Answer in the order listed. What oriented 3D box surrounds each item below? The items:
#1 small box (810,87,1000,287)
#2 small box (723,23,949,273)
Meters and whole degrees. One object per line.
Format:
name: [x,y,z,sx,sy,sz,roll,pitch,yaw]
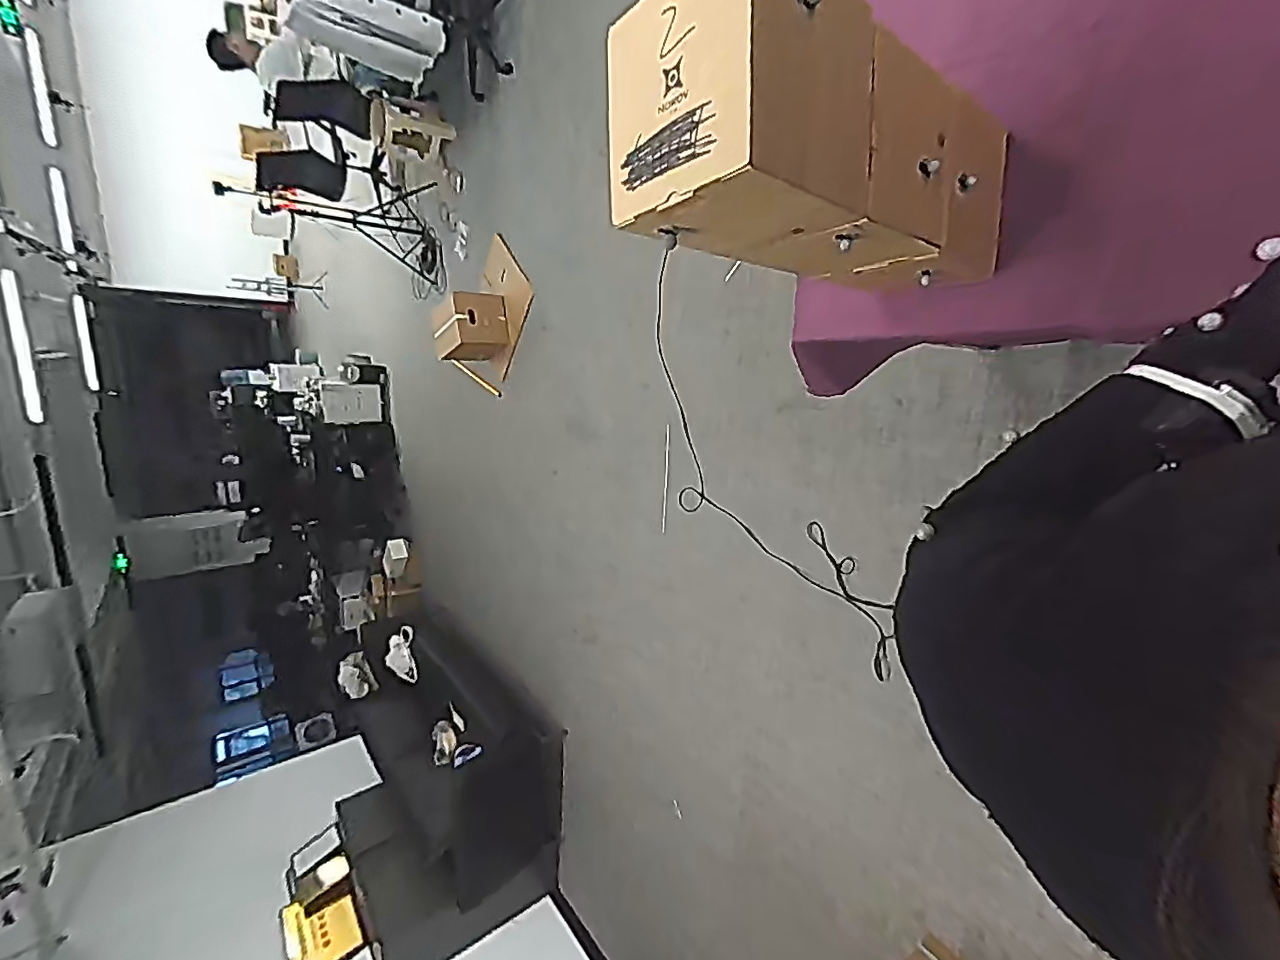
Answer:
small box: [0.341,-0.354,0.700,0.168,0.176,0.179,11,104,49]
small box: [0.213,-0.339,0.601,0.179,0.176,0.168,8,102,49]
